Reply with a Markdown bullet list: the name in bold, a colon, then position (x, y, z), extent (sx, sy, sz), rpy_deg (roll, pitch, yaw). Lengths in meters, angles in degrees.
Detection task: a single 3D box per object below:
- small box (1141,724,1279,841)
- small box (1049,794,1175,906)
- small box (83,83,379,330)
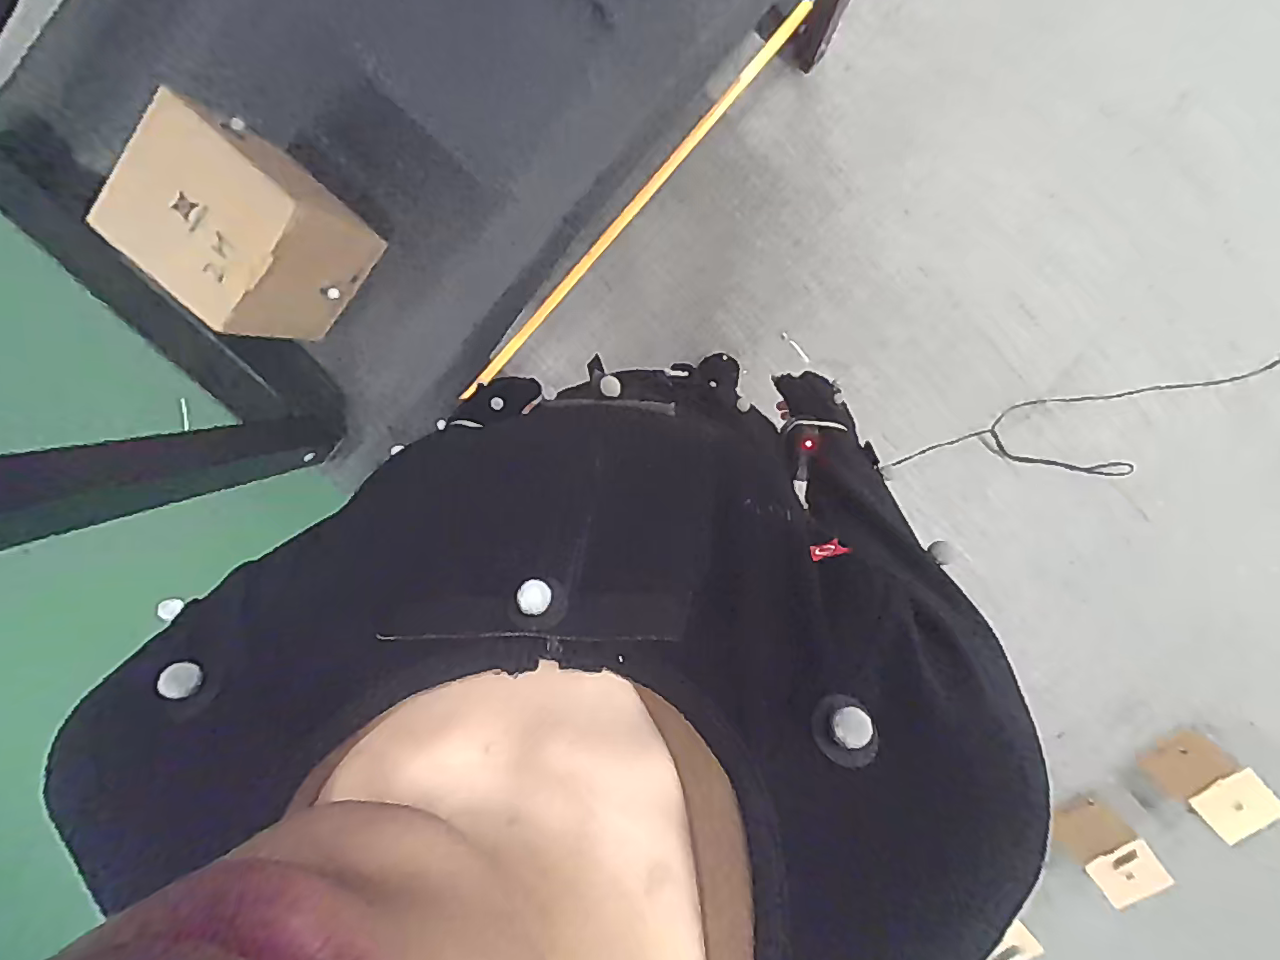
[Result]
- **small box**: position (1.519, 0.799, 1.442), extent (0.168, 0.176, 0.179), rpy_deg (-44, 95, 12)
- **small box**: position (1.301, 1.016, 1.506), extent (0.168, 0.176, 0.179), rpy_deg (-37, 97, 12)
- **small box**: position (-0.452, -0.290, 0.626), extent (0.179, 0.176, 0.168), rpy_deg (42, 102, -4)
